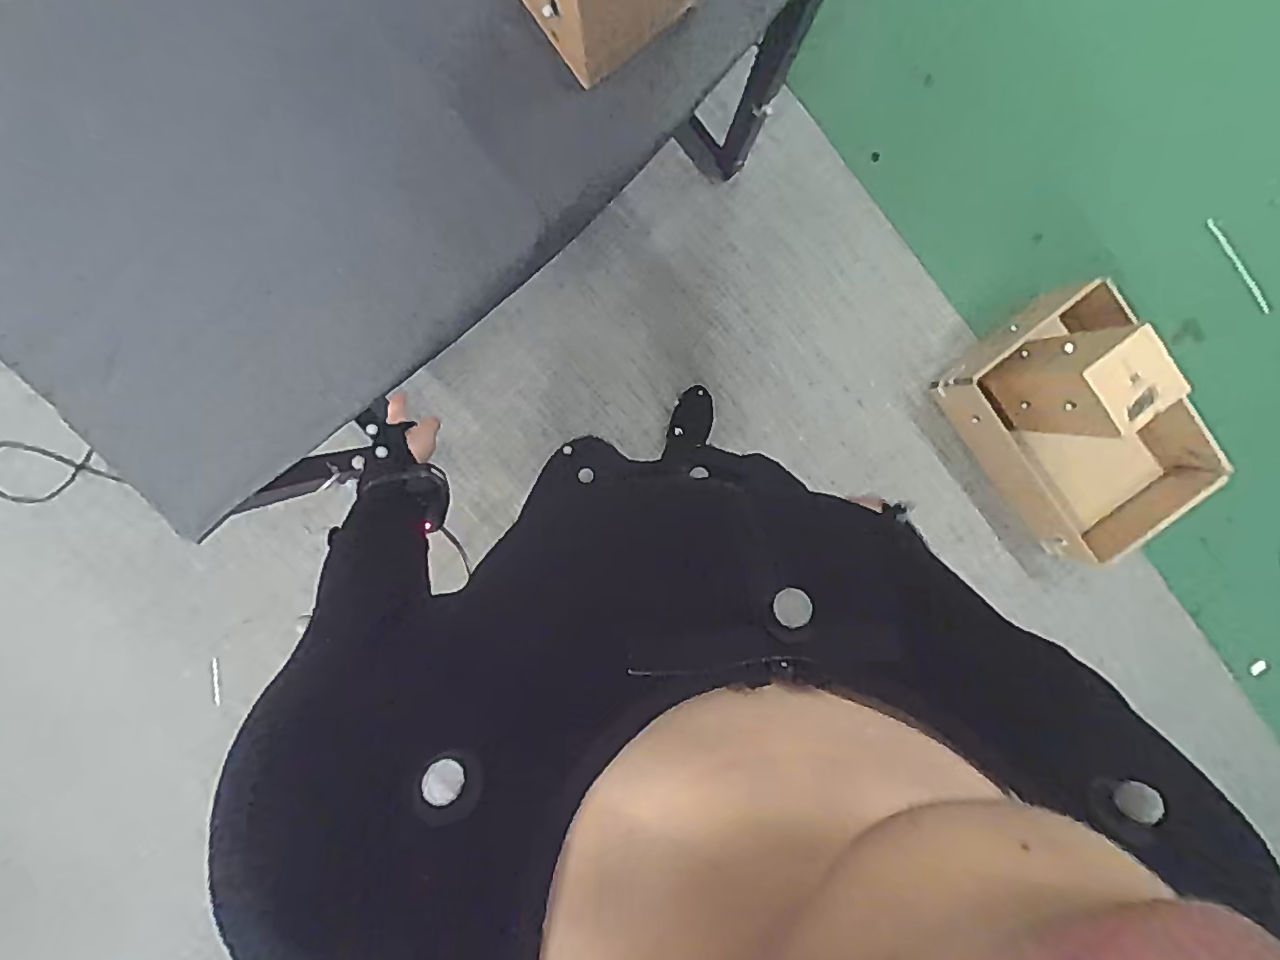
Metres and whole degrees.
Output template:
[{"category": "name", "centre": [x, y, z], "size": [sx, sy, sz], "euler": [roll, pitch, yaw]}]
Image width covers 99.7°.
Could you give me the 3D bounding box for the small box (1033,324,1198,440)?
[{"category": "small box", "centre": [1.012, -0.209, 1.167], "size": [0.168, 0.176, 0.179], "euler": [-38, 97, 4]}]

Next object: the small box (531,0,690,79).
[{"category": "small box", "centre": [-0.042, -0.584, 0.568], "size": [0.179, 0.176, 0.168], "euler": [-37, 97, 2]}]

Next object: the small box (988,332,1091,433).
[{"category": "small box", "centre": [1.011, -0.235, 1.329], "size": [0.168, 0.176, 0.179], "euler": [-39, 98, 5]}]
